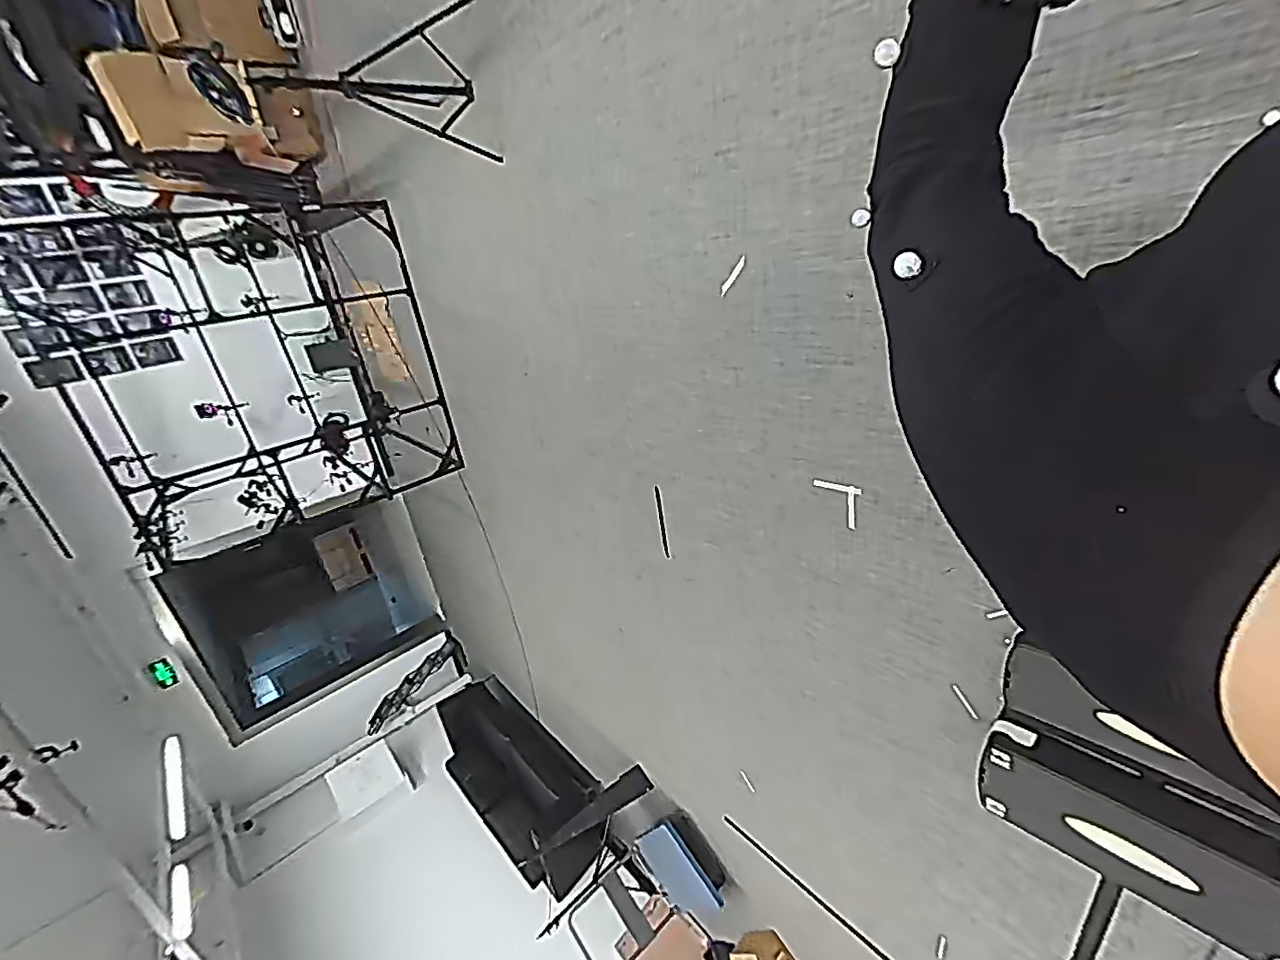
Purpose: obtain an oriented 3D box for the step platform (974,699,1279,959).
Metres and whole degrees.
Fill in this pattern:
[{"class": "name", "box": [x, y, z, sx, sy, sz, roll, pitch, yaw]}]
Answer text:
[{"class": "step platform", "box": [1.263, 0.871, 1.397, 0.684, 0.204, 0.286, 16, 124, 49]}]
